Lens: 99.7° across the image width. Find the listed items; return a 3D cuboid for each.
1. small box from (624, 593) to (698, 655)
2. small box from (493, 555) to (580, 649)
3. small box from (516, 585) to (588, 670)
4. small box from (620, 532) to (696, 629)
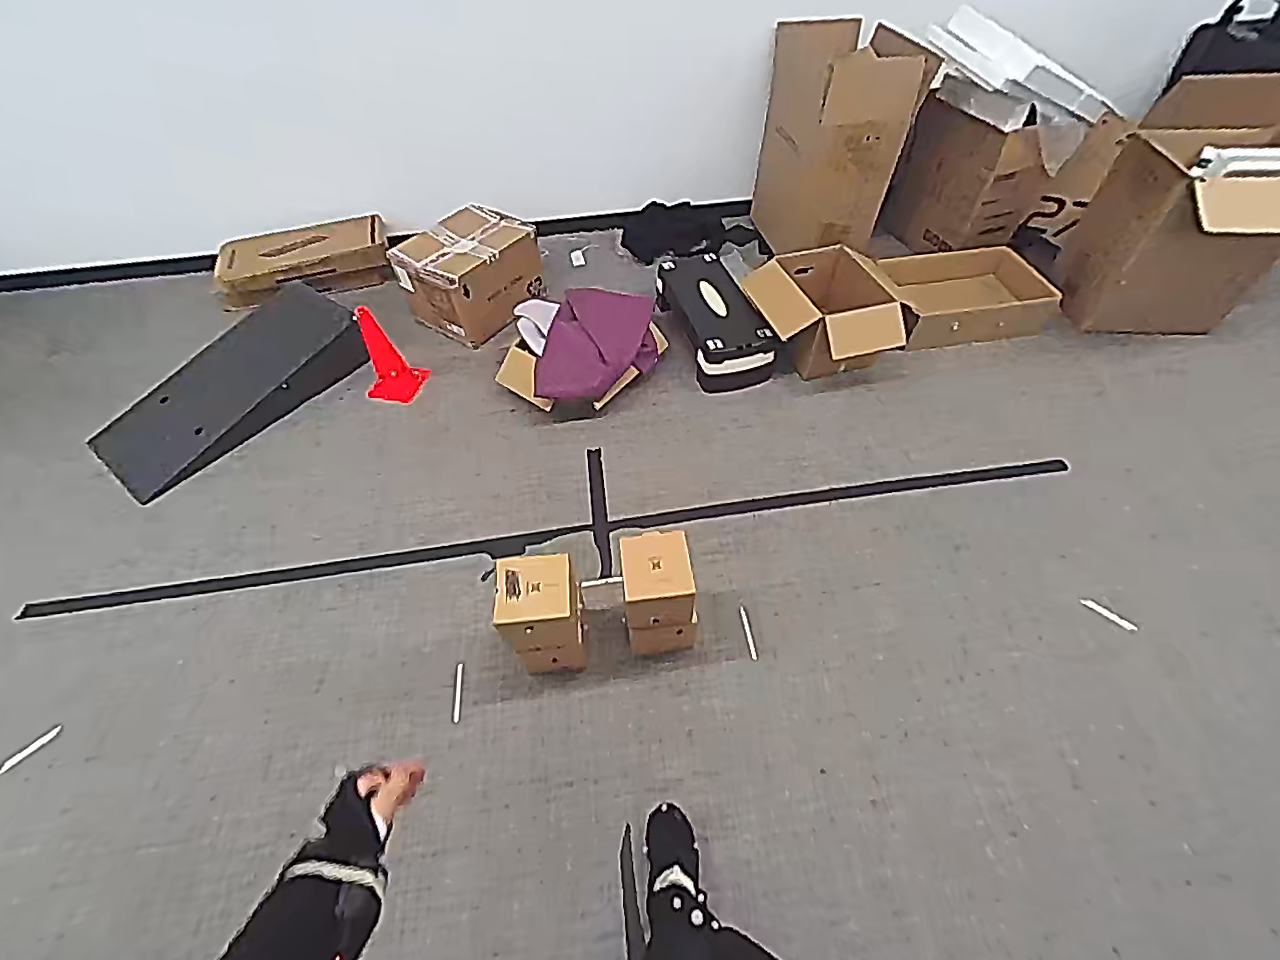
[{"bbox_3d":[0.052,0.362,1.478,0.179,0.176,0.168,-8,52,-5],"label":"small box"},{"bbox_3d":[-0.246,0.302,1.323,0.179,0.176,0.168,-5,52,-1],"label":"small box"},{"bbox_3d":[-0.232,0.401,1.457,0.168,0.176,0.179,-6,53,-2],"label":"small box"},{"bbox_3d":[0.041,0.253,1.356,0.168,0.176,0.179,-7,54,-3],"label":"small box"}]
